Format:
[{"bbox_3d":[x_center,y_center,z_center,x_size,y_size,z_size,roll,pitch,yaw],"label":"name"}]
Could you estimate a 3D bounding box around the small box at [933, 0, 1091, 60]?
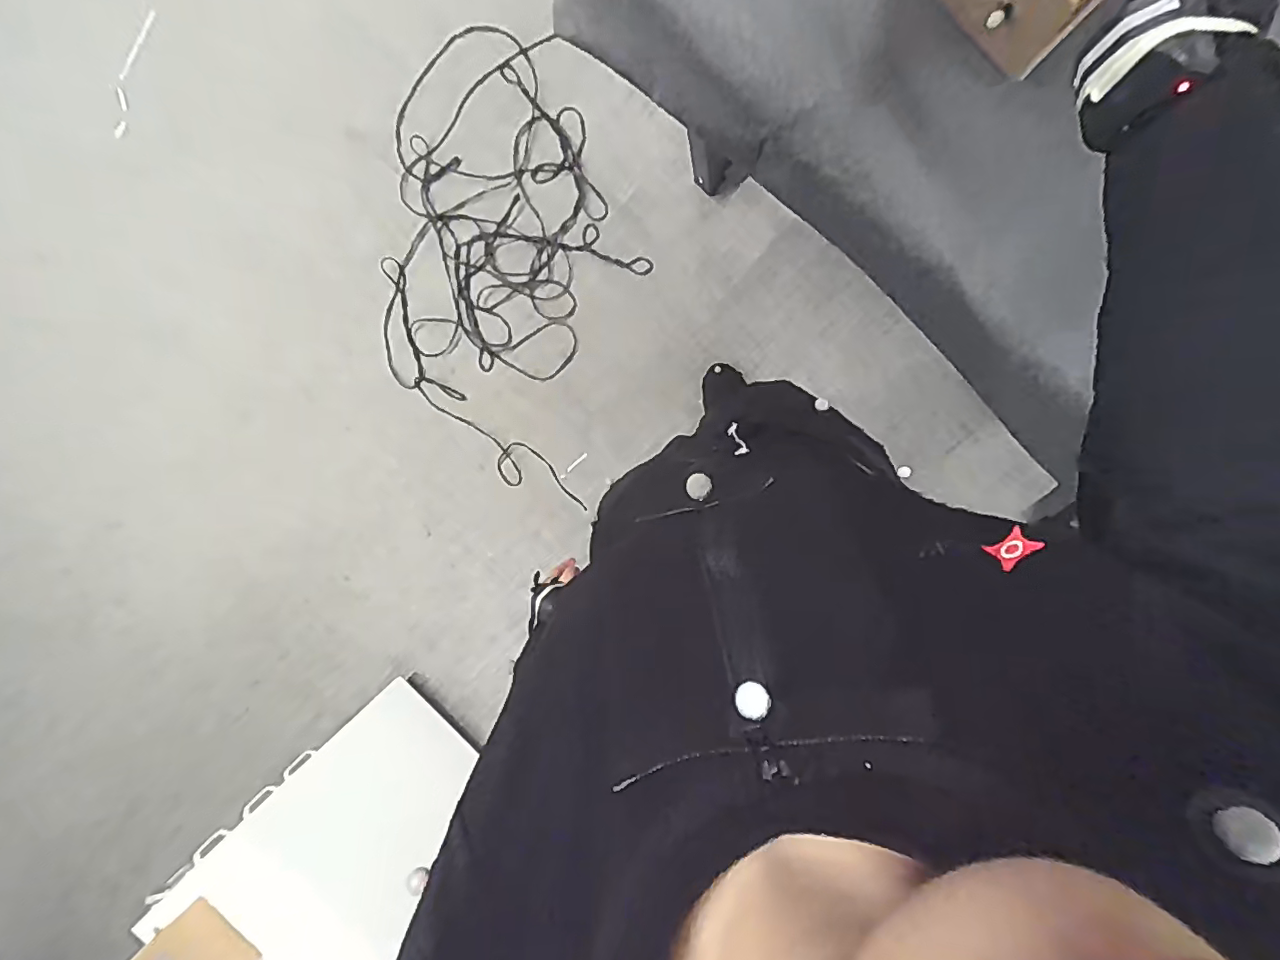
[{"bbox_3d":[0.311,-0.457,0.394,0.179,0.176,0.168,46,117,0],"label":"small box"}]
